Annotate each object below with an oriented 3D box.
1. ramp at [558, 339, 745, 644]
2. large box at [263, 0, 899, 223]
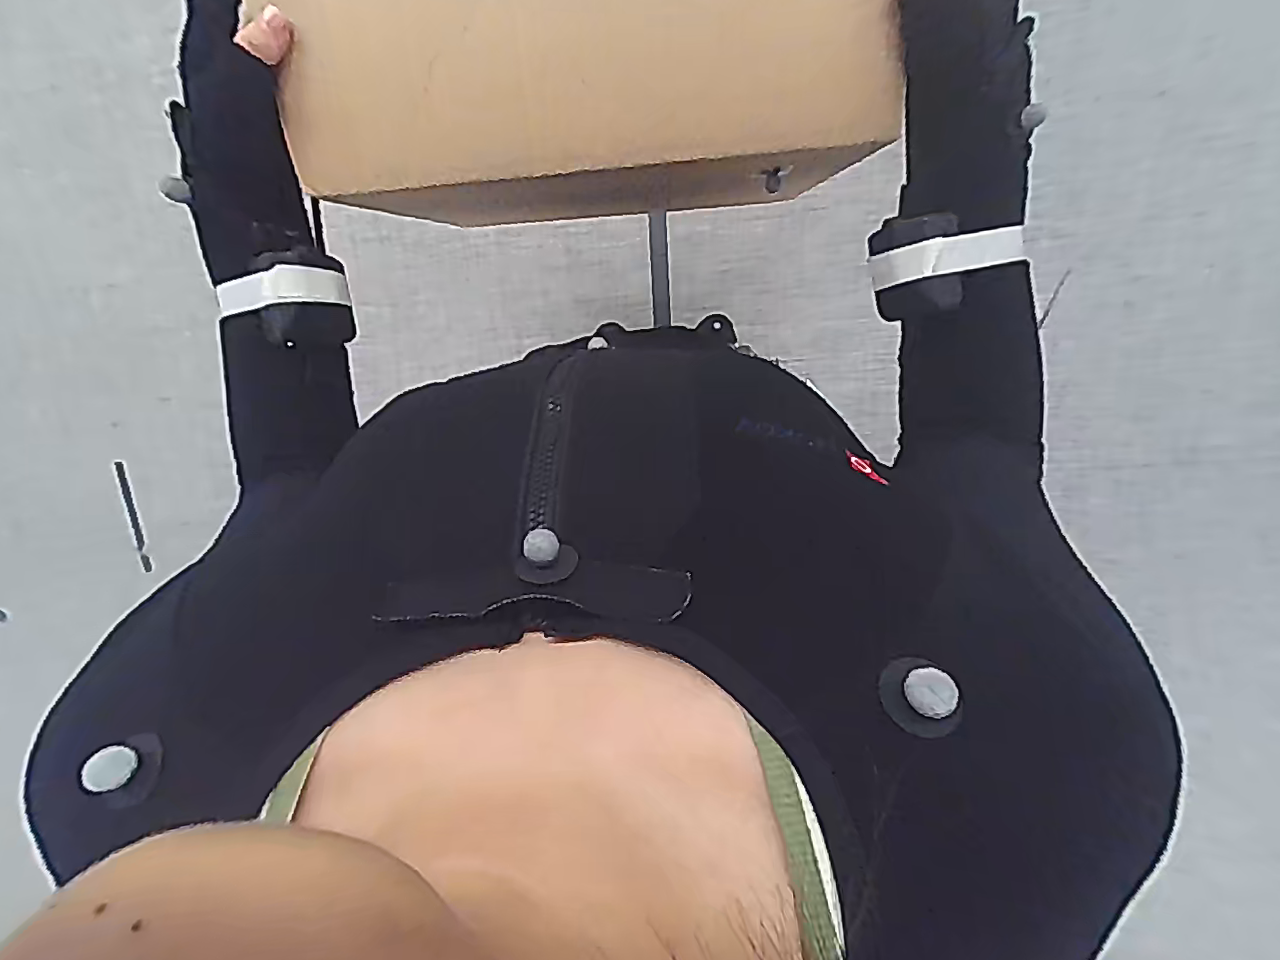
[{"bbox_3d":[0.068,0.095,1.622,0.509,0.206,0.991,-5,105,4],"label":"ramp"},{"bbox_3d":[-0.038,-0.410,0.456,0.408,0.320,0.320,-3,111,3],"label":"large box"}]
